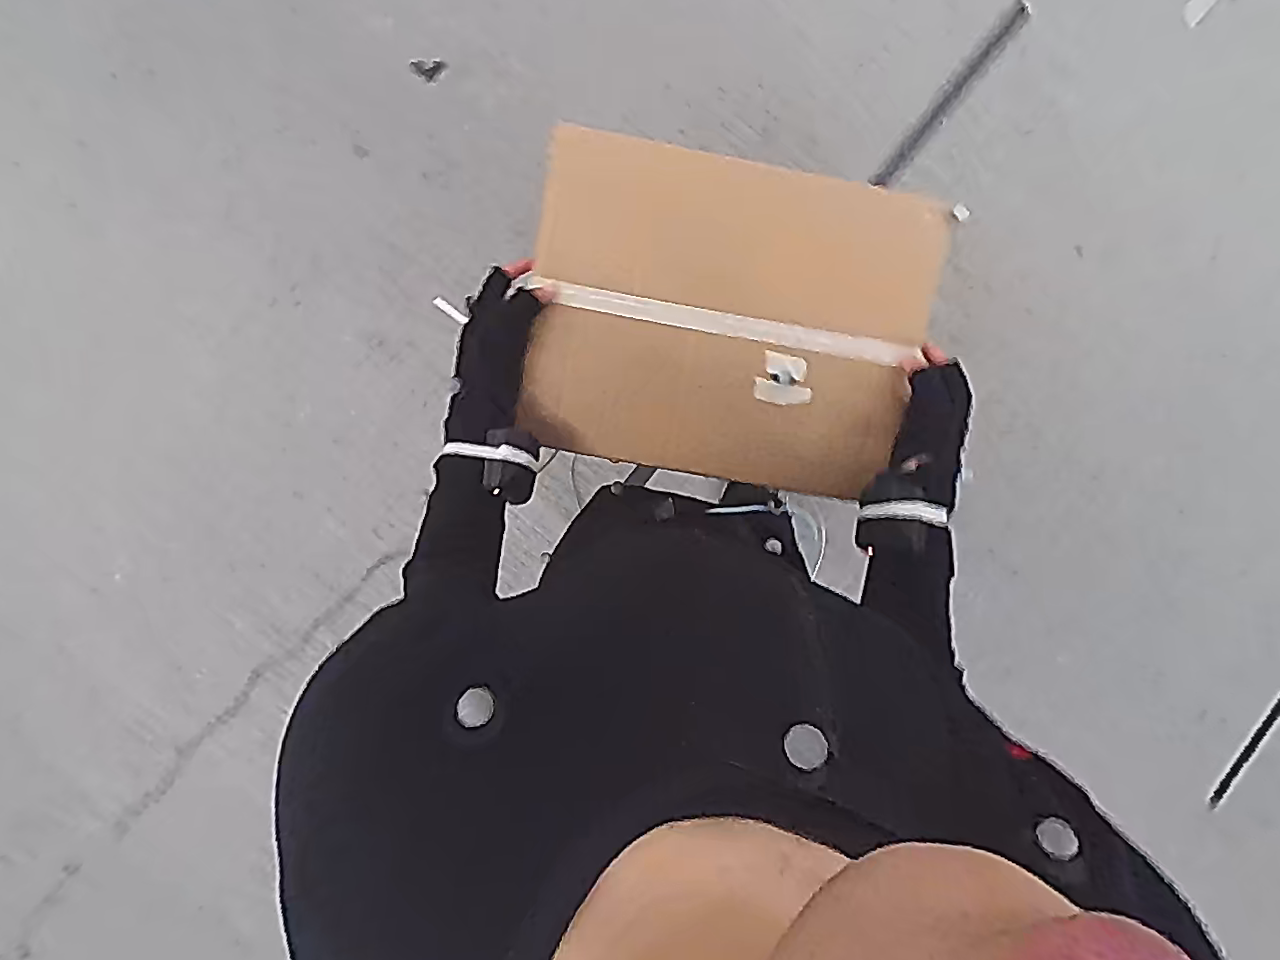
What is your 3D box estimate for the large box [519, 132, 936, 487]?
[{"bbox_3d":[0.082,-0.189,0.714,0.408,0.320,0.320,10,98,-3],"label":"large box"}]
